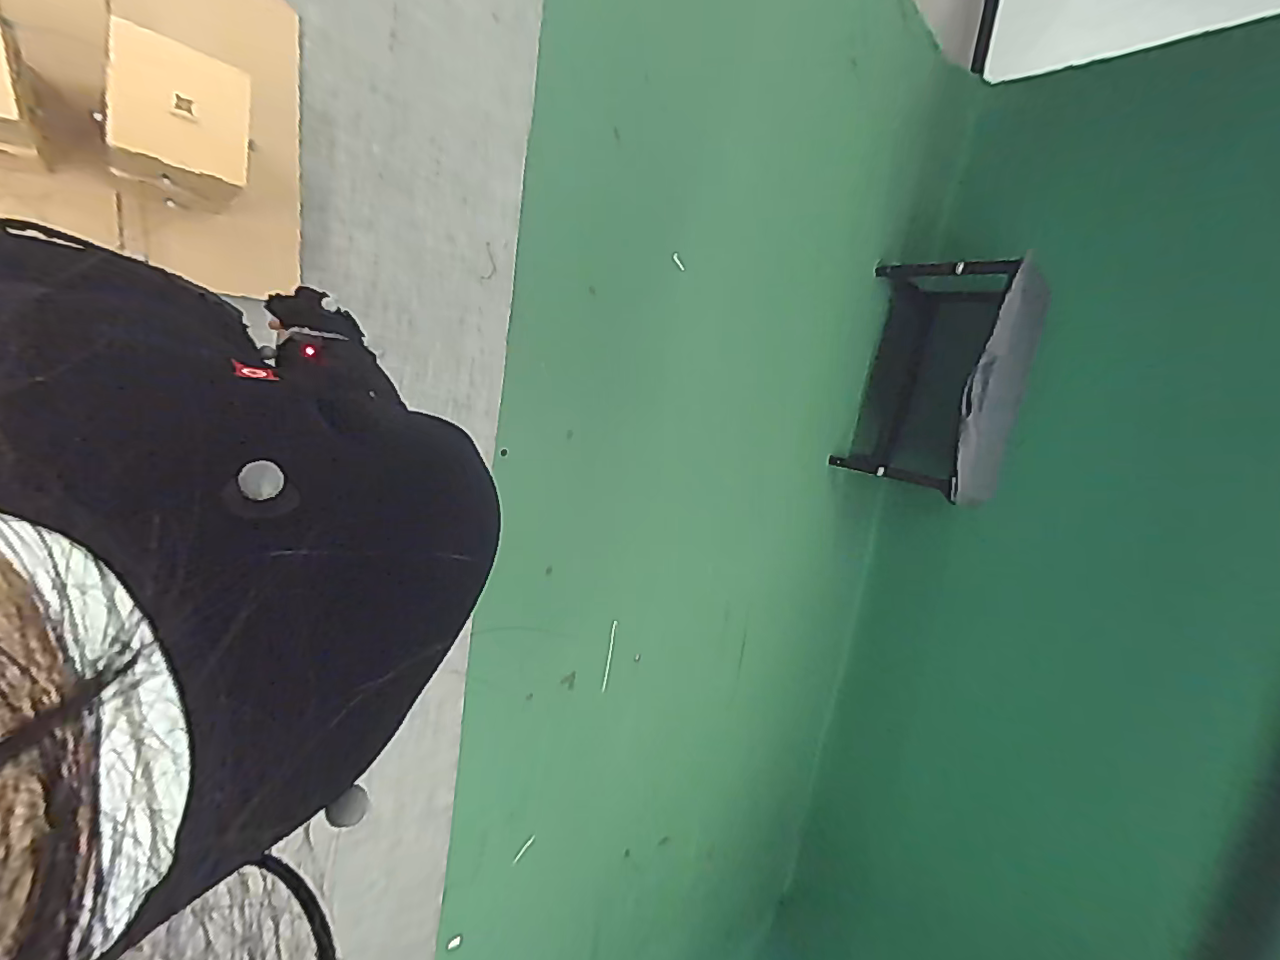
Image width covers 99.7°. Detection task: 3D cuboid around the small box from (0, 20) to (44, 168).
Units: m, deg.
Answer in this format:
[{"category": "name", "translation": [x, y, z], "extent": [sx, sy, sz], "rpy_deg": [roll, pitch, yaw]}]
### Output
[{"category": "small box", "translation": [-1.040, -0.595, 0.815], "extent": [0.168, 0.176, 0.179], "rpy_deg": [-10, 109, -42]}]

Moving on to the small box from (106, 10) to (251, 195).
[{"category": "small box", "translation": [-0.748, -0.589, 0.875], "extent": [0.168, 0.176, 0.179], "rpy_deg": [0, 103, -44]}]

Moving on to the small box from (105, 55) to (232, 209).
[{"category": "small box", "translation": [-0.860, -0.618, 0.988], "extent": [0.168, 0.176, 0.179], "rpy_deg": [-3, 106, -42]}]
